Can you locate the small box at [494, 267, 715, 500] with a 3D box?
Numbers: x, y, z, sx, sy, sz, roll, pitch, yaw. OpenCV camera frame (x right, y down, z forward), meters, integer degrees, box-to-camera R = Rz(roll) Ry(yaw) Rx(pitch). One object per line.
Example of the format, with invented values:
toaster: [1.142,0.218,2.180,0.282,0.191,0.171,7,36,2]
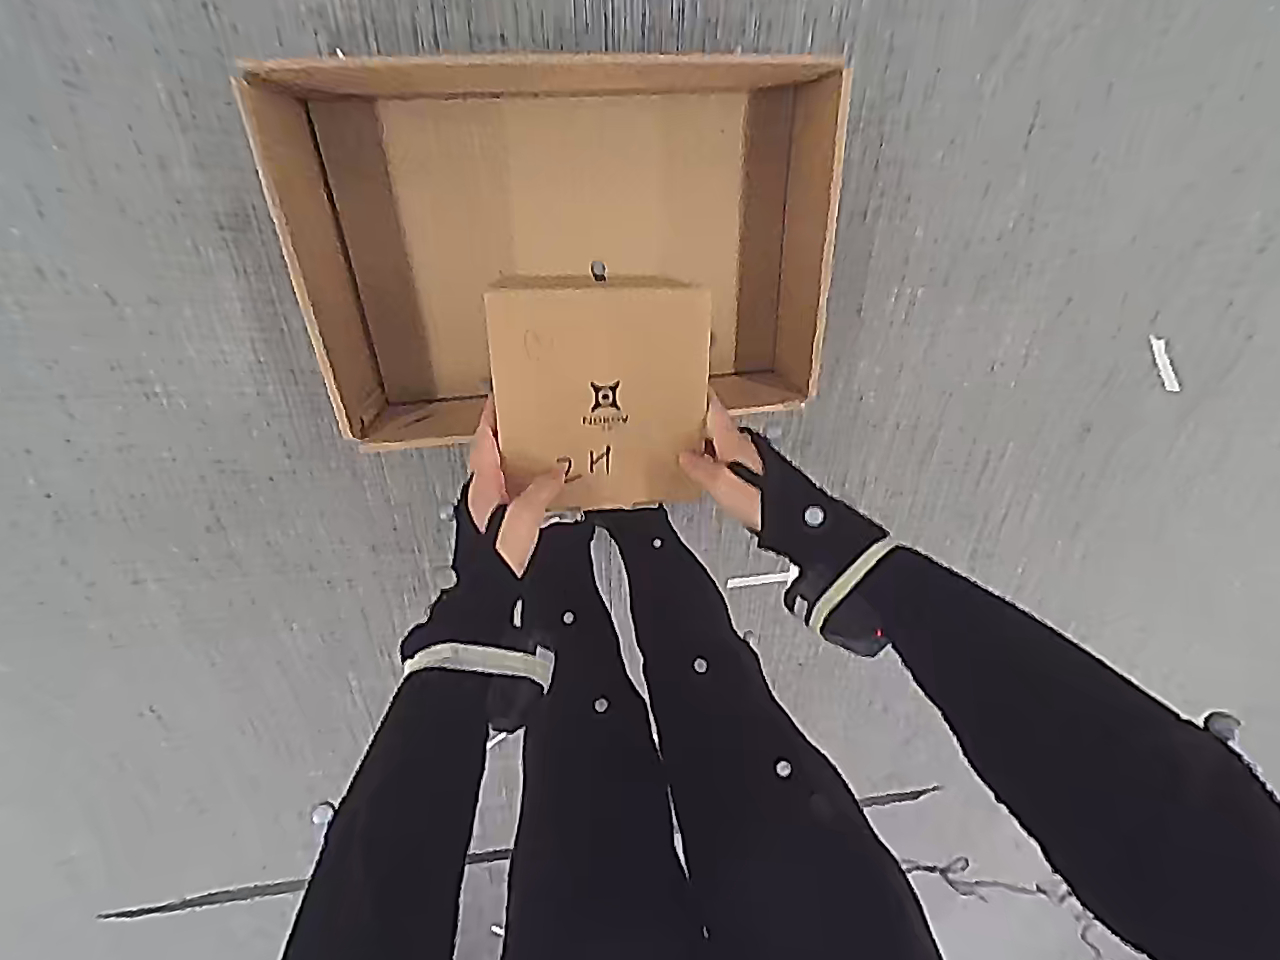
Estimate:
small box: [-0.039,-0.098,0.493,0.168,0.176,0.179,-3,115,-9]
